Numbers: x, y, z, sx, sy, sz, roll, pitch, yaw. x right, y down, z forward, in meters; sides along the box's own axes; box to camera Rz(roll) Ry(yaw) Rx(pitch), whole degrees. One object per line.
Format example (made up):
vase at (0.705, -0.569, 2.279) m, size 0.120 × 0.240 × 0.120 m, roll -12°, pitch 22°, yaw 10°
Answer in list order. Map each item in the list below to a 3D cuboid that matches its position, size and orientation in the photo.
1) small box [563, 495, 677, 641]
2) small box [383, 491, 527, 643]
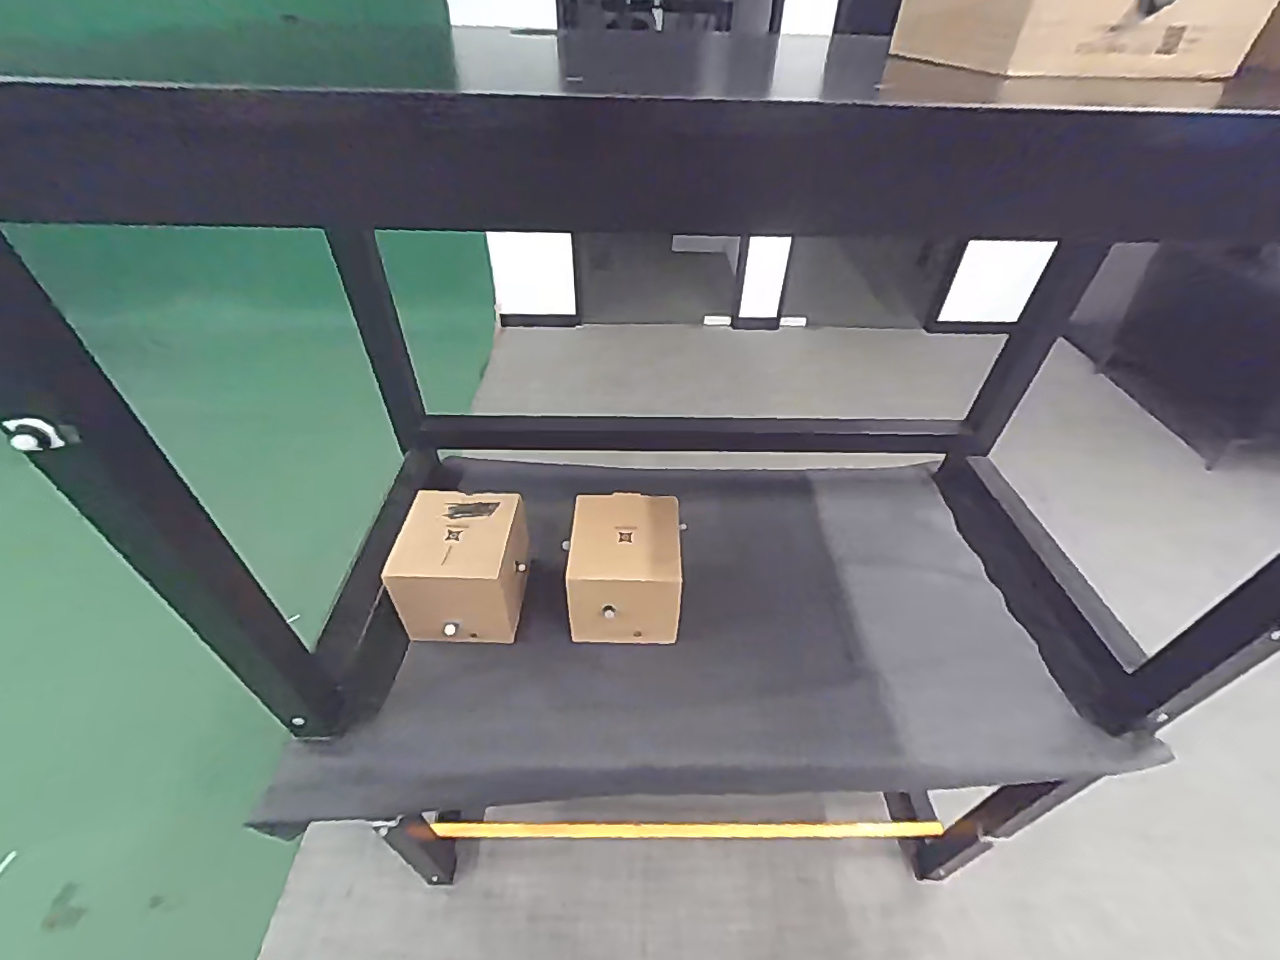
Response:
small box at (-0.028, 0.143, 0.874) m, size 0.168 × 0.176 × 0.179 m, roll 1°, pitch 41°, yaw -1°
small box at (-0.280, 0.138, 0.868) m, size 0.168 × 0.176 × 0.179 m, roll 1°, pitch 42°, yaw 0°
